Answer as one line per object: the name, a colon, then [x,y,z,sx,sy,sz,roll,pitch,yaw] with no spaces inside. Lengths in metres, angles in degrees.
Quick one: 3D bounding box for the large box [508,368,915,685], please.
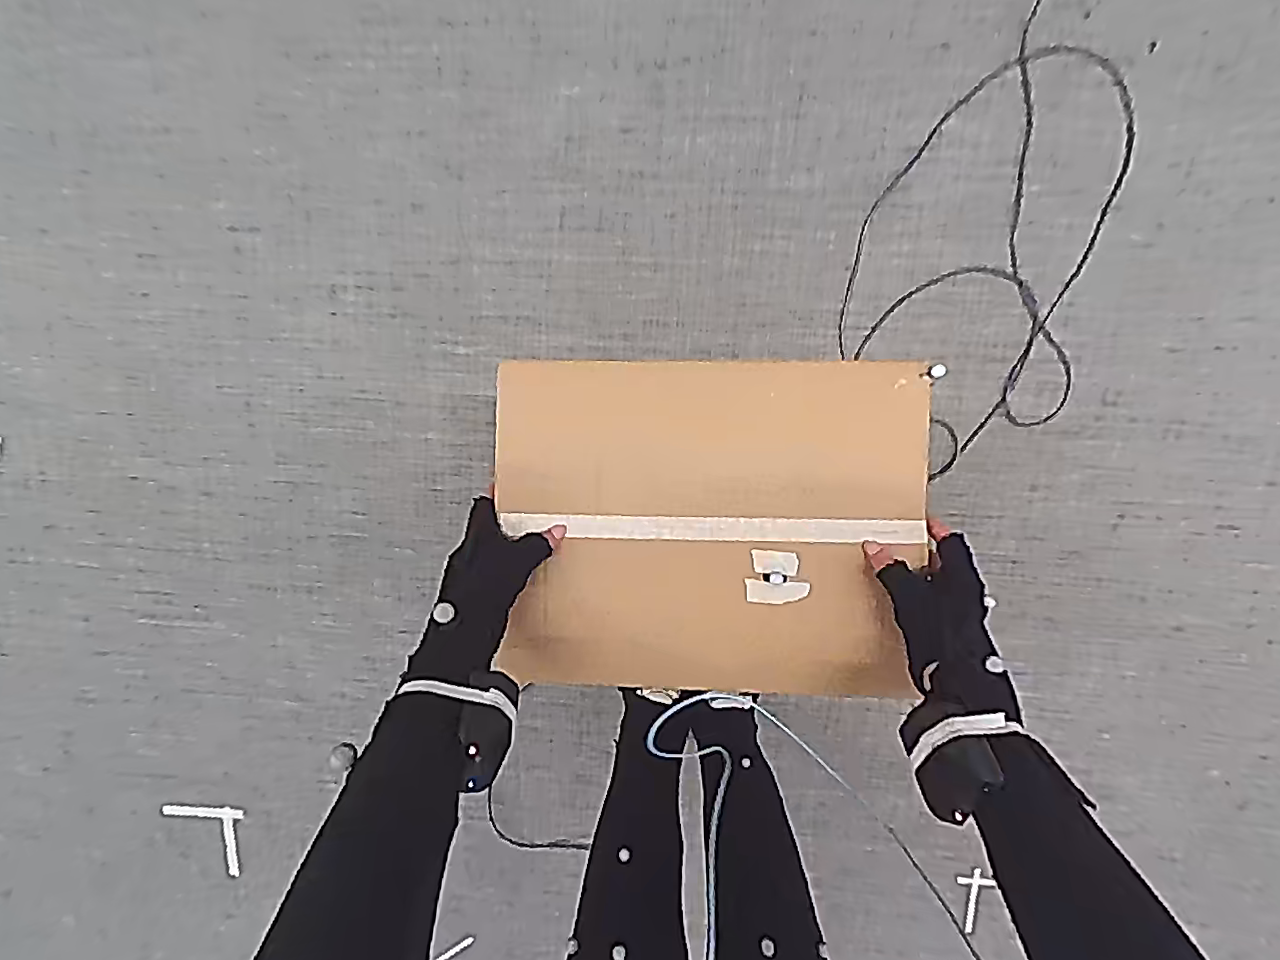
large box: [0.073,0.044,0.681,0.408,0.320,0.320,1,92,4]
